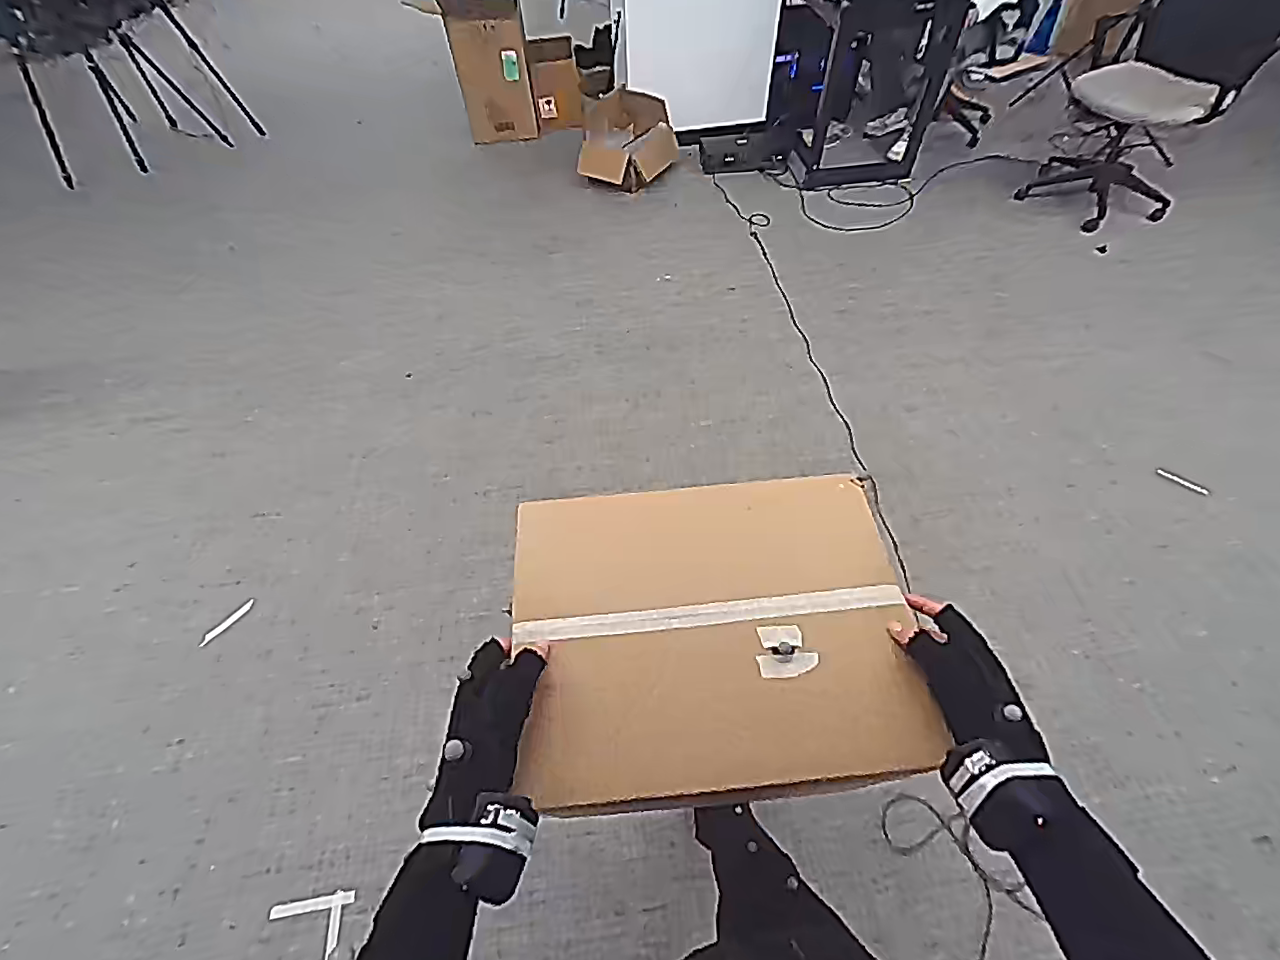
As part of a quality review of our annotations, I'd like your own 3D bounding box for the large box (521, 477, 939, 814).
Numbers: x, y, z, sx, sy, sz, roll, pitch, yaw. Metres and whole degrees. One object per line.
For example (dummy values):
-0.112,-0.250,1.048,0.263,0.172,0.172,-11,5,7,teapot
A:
0.073,0.225,0.705,0.408,0.320,0.320,-5,57,-2,large box
